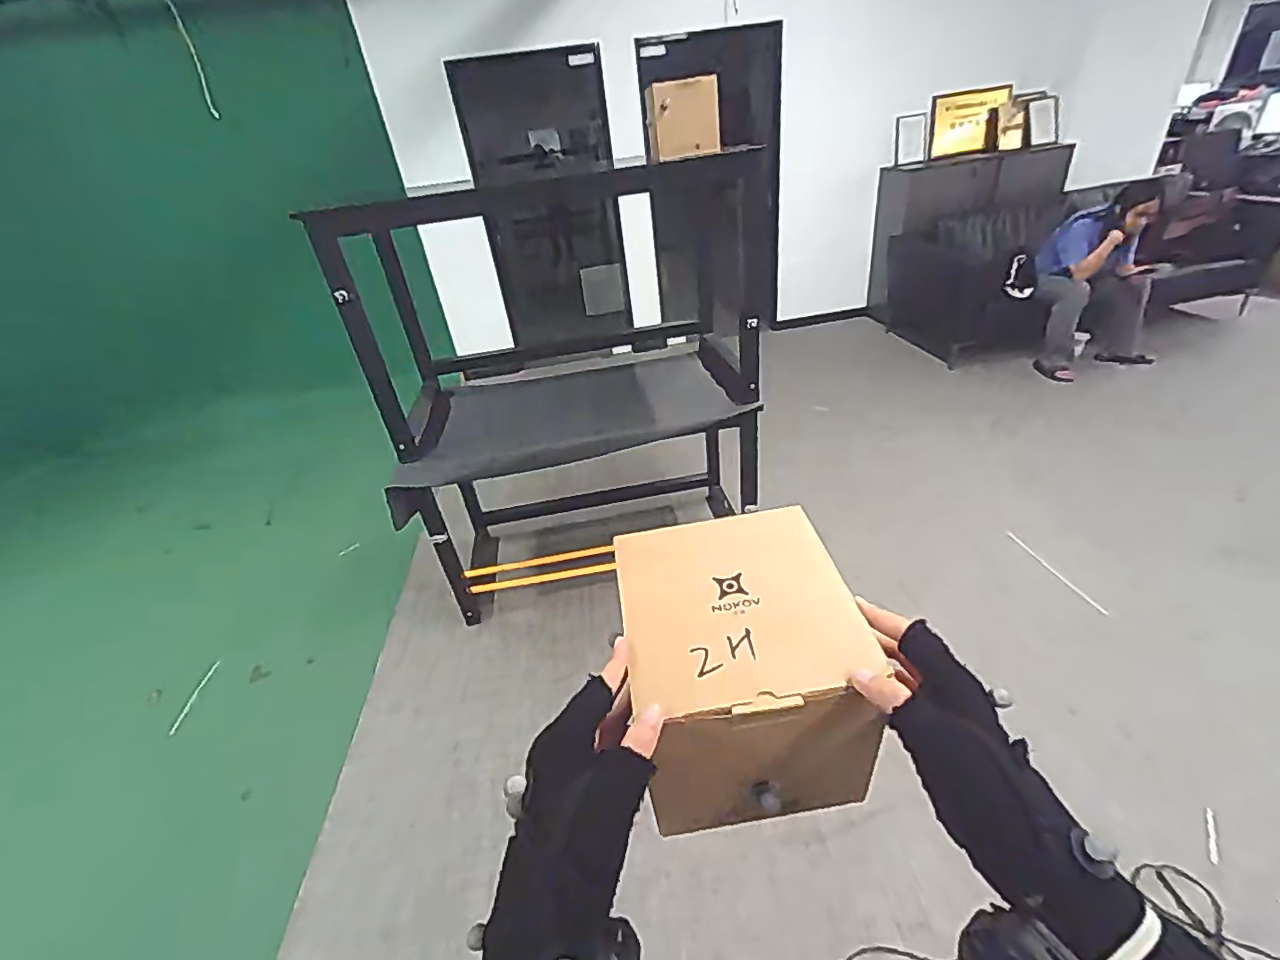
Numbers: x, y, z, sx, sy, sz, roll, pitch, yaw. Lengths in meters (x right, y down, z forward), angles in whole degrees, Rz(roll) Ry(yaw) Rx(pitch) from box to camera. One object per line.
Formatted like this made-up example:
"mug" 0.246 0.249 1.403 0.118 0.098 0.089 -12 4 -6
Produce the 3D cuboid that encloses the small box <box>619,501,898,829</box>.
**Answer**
"small box" 0.079 0.144 0.440 0.168 0.176 0.179 -10 35 0
